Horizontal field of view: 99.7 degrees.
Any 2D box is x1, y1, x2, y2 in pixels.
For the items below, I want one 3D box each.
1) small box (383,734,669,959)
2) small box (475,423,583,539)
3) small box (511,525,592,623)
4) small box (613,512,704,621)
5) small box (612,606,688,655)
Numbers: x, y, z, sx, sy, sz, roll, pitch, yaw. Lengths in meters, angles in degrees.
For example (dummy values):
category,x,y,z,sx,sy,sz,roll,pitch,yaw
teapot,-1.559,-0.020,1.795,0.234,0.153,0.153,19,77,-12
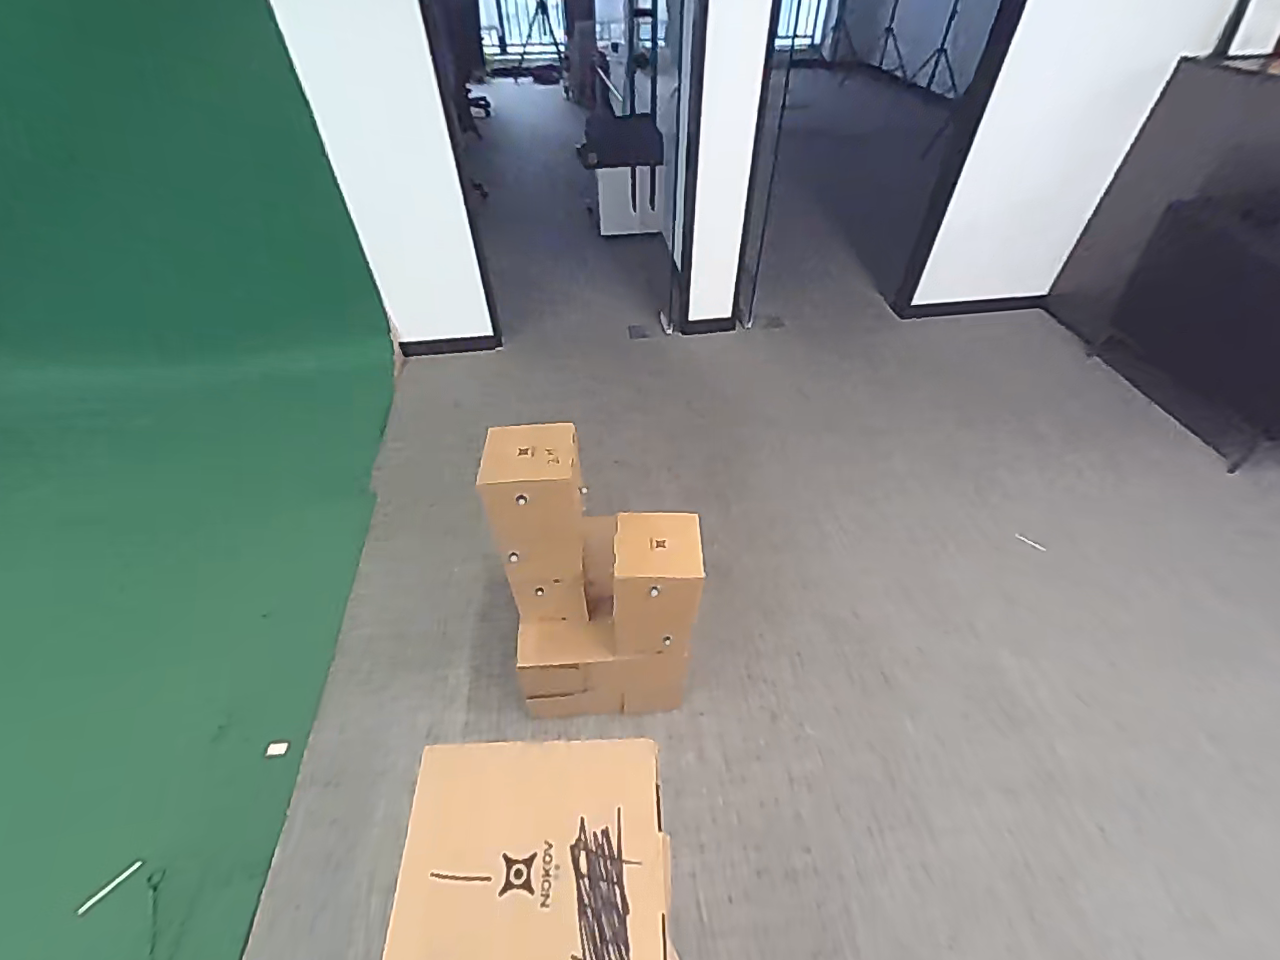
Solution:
category,x,y,z,sx,sy,sz,roll,pitch,yaw
small box,-0.072,0.304,0.419,0.179,0.176,0.168,-1,51,-2
small box,-0.212,0.005,1.082,0.179,0.176,0.168,-3,45,-1
small box,-0.208,0.230,1.324,0.168,0.176,0.179,-2,44,0
small box,0.034,0.184,1.138,0.179,0.176,0.168,0,45,0
small box,0.023,0.293,1.258,0.168,0.176,0.179,1,44,-1
